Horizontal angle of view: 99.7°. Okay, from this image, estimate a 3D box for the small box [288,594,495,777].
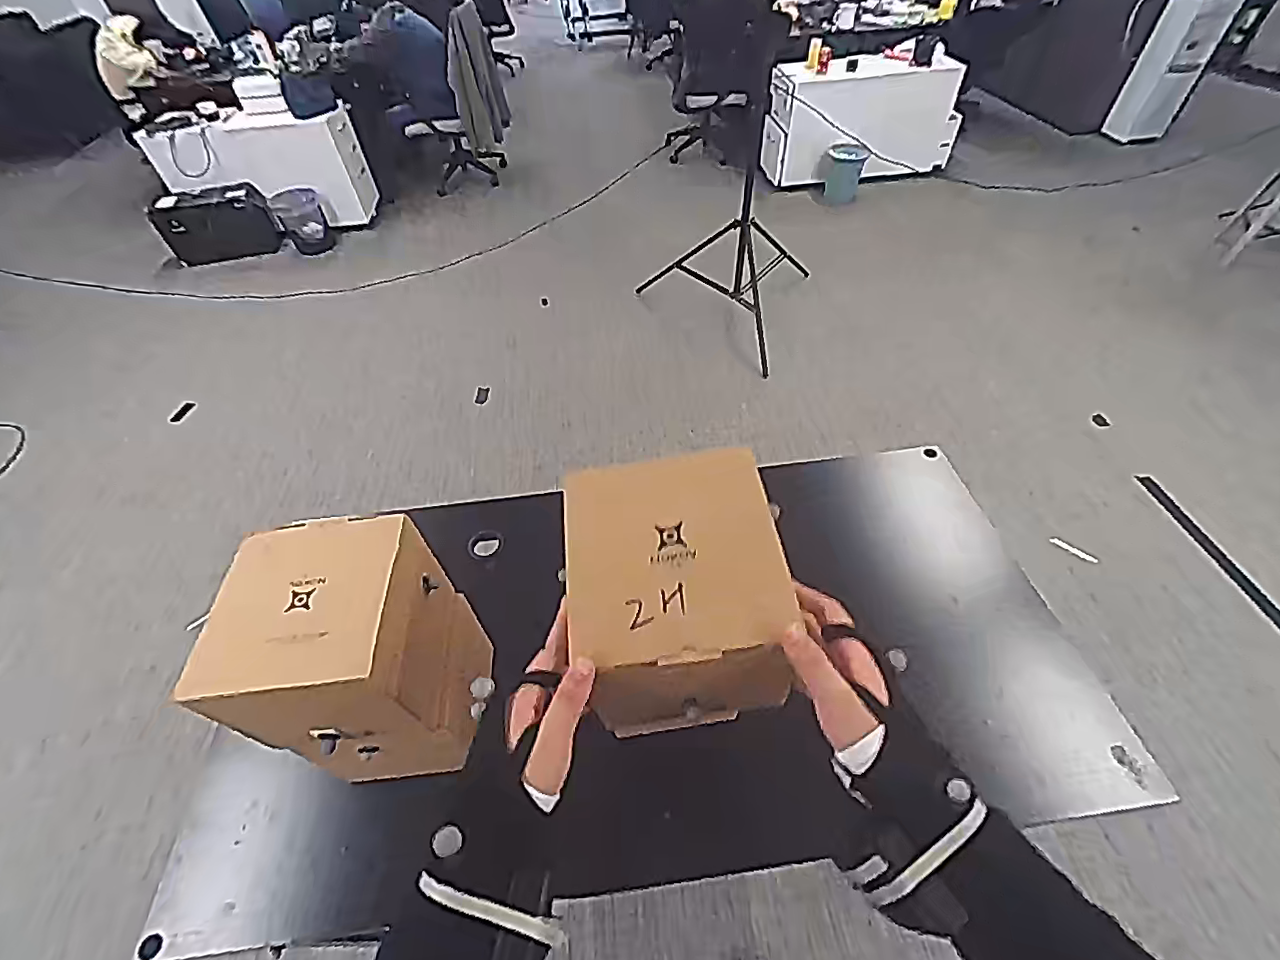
[{"bbox_3d":[-0.299,0.267,0.694,0.179,0.176,0.168,-5,49,-3],"label":"small box"}]

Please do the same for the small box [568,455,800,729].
[{"bbox_3d":[0.031,0.104,0.490,0.168,0.176,0.179,-8,51,1],"label":"small box"}]

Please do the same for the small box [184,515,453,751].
[{"bbox_3d":[-0.308,0.162,0.570,0.168,0.176,0.179,-7,50,-2],"label":"small box"}]
